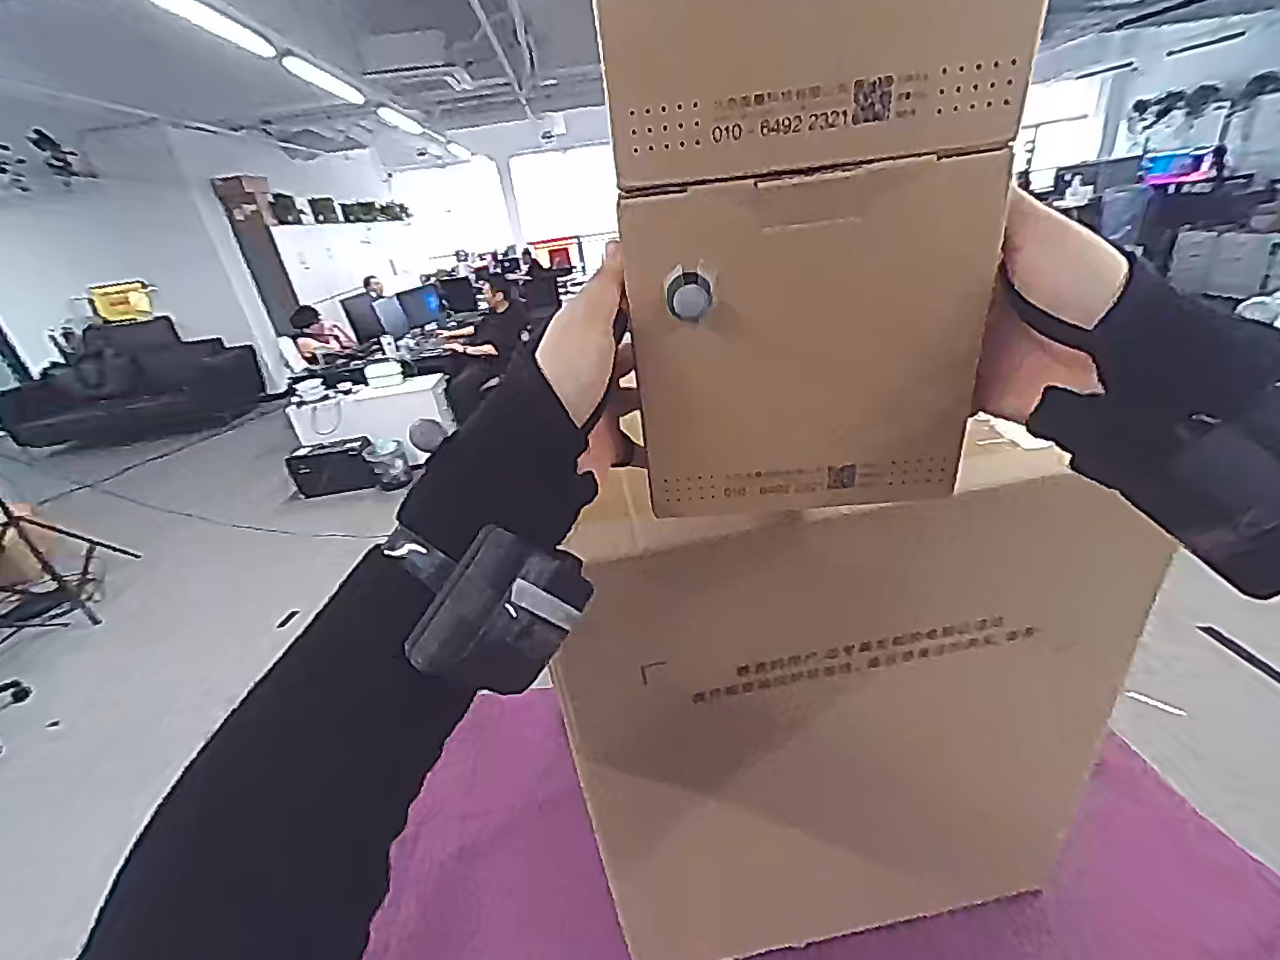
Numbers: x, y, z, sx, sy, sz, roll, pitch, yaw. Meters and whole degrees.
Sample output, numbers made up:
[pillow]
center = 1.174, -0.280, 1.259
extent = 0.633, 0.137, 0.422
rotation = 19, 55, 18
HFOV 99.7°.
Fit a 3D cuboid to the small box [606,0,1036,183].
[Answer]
[small box]
center = 0.068, -0.246, 0.255
extent = 0.168, 0.176, 0.179
rotation = -4, 28, 4
